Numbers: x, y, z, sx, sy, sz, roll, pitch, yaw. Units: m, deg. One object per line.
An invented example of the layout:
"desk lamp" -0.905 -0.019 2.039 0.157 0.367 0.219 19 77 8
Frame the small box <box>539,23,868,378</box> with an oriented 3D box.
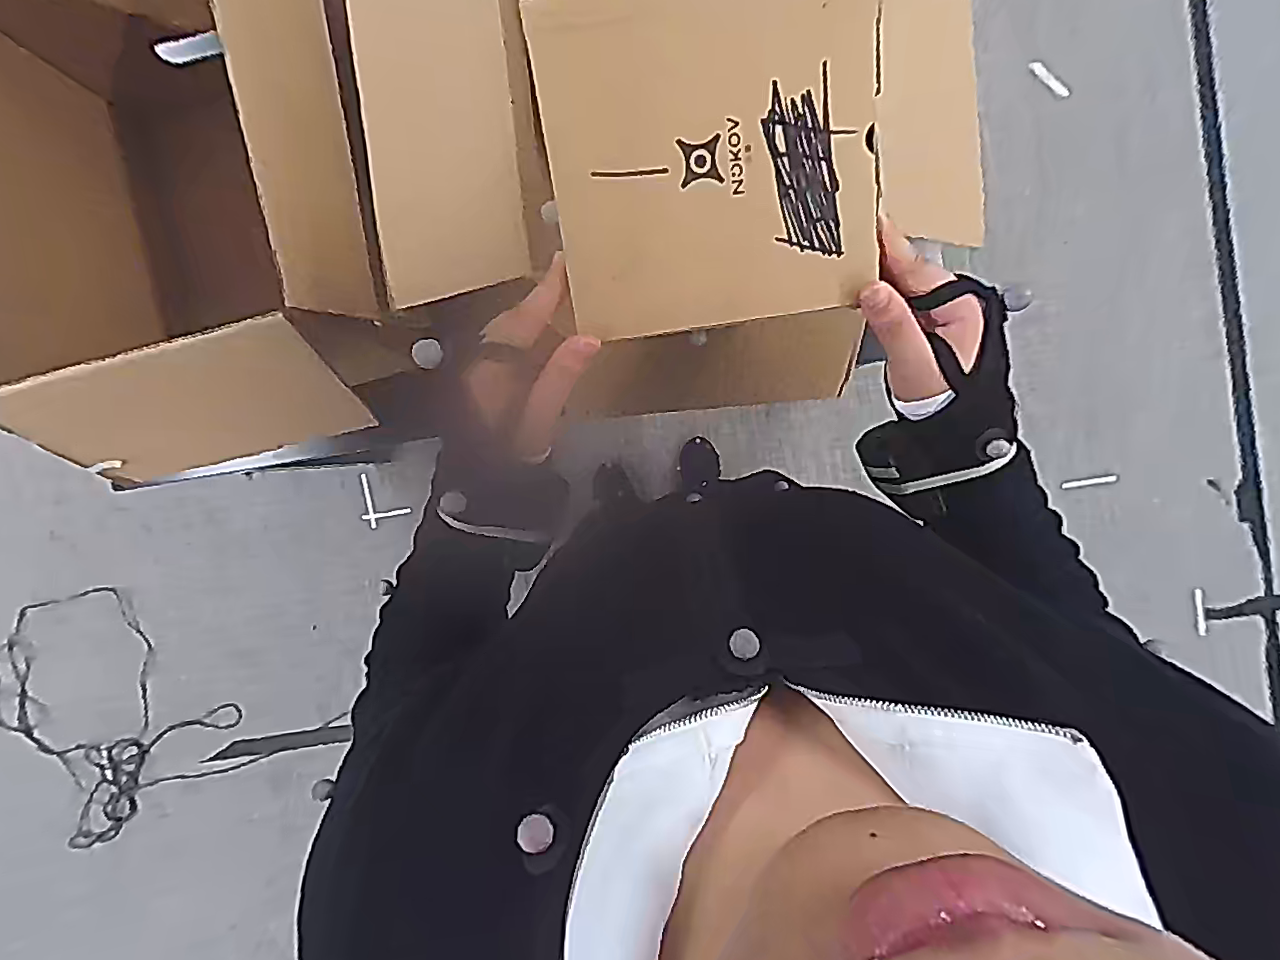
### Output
"small box" 0.038 -0.175 0.379 0.179 0.176 0.168 -8 108 0
